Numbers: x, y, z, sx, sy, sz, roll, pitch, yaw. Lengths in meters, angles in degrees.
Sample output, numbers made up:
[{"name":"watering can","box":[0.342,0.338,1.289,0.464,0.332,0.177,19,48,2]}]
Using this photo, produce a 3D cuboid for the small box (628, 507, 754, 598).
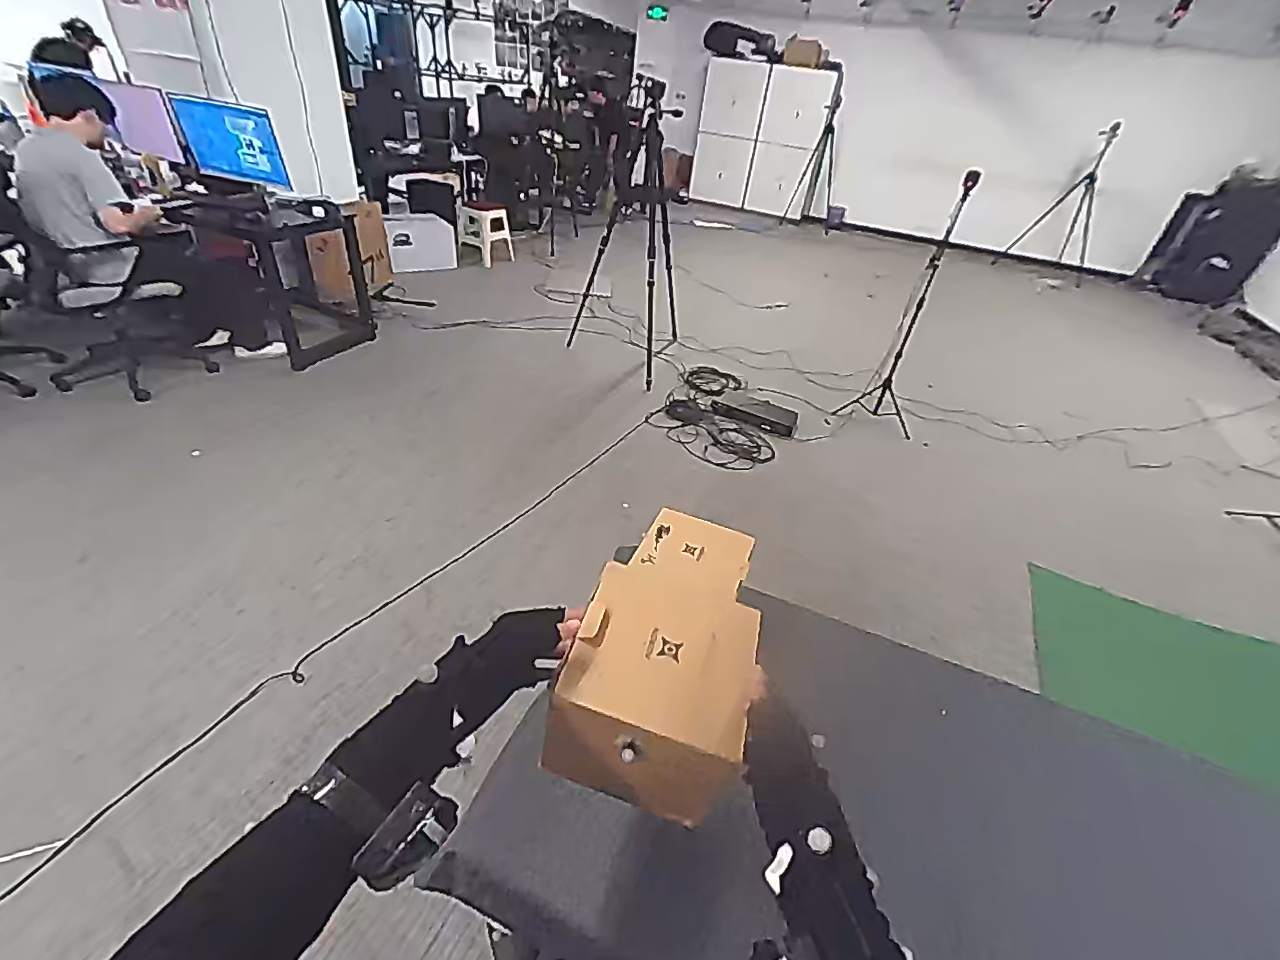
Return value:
[{"name":"small box","box":[0.078,0.182,0.943,0.179,0.176,0.168,20,39,14]}]

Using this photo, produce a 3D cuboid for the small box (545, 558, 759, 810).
[{"name":"small box","box":[0.010,0.218,0.575,0.179,0.176,0.168,19,41,4]}]
